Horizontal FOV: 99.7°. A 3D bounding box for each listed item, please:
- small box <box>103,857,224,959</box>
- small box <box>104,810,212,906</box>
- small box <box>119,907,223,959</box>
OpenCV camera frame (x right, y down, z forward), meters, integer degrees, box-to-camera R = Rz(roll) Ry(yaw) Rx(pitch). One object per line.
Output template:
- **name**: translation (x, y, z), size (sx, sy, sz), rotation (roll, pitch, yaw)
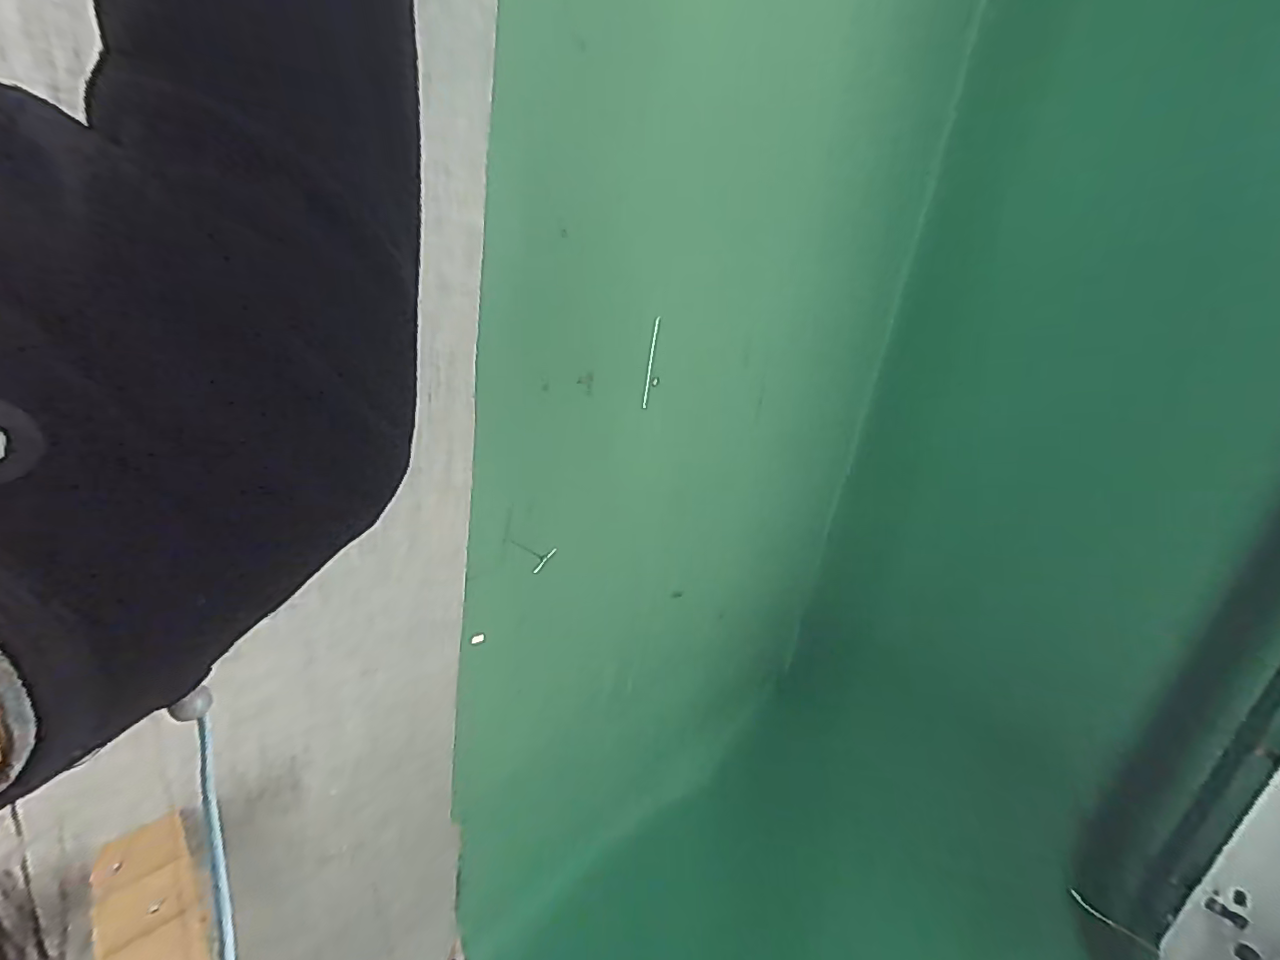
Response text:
- **small box**: translation (-1.135, 1.062, 1.289), size (0.179, 0.176, 0.168), rotation (-18, 121, -43)
- **small box**: translation (-1.248, 1.013, 1.398), size (0.179, 0.176, 0.168), rotation (-18, 122, -44)
- **small box**: translation (-1.020, 1.102, 1.176), size (0.179, 0.176, 0.168), rotation (-16, 121, -44)
